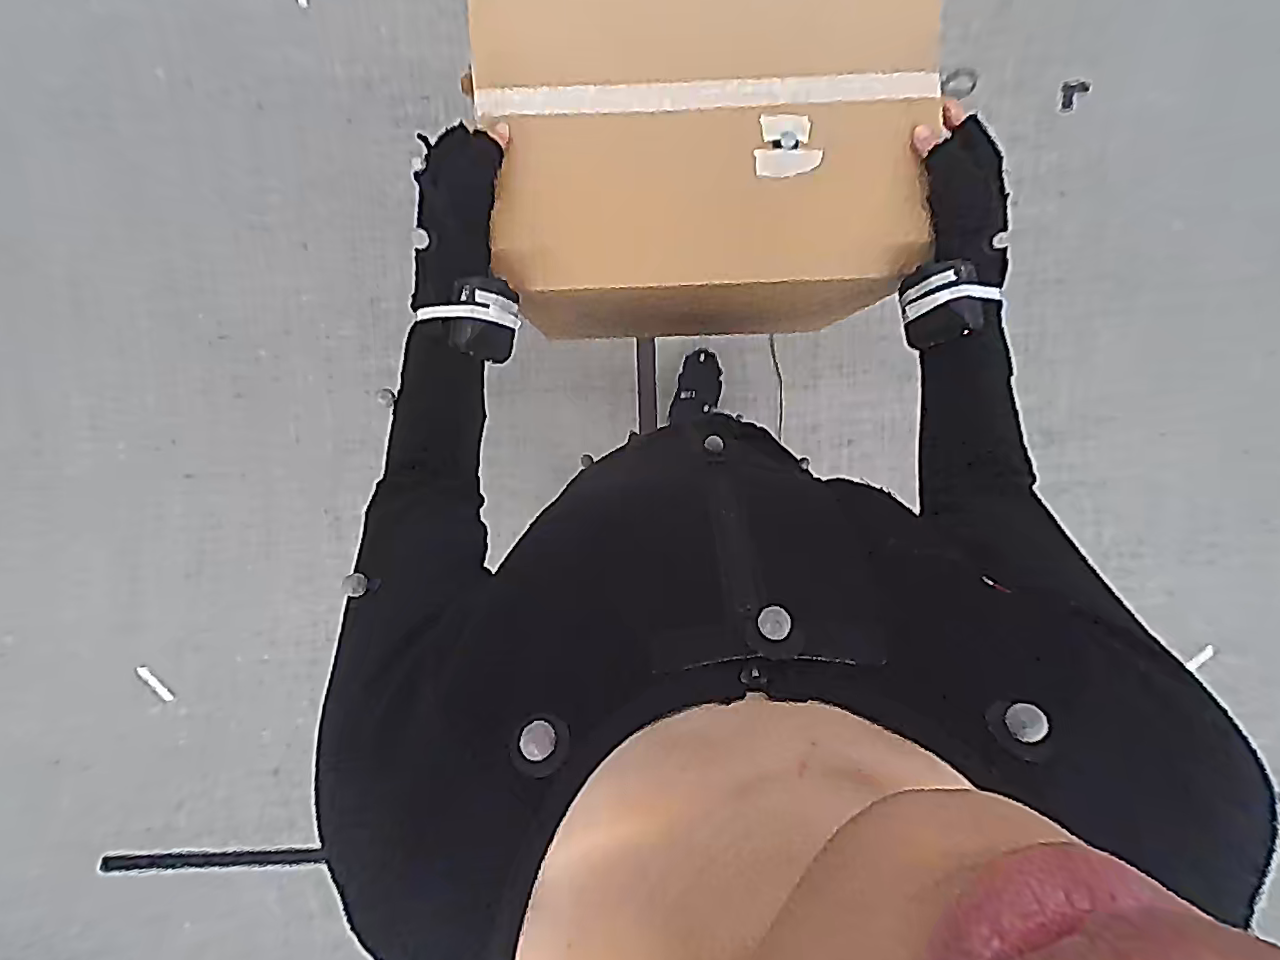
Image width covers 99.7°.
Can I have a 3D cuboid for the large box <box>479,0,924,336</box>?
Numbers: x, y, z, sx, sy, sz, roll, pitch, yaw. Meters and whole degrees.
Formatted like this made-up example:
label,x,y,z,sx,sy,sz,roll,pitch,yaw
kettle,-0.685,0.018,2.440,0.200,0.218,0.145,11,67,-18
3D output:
label,x,y,z,sx,sy,sz,roll,pitch,yaw
large box,0.056,-0.361,0.641,0.408,0.320,0.320,-3,97,-1
